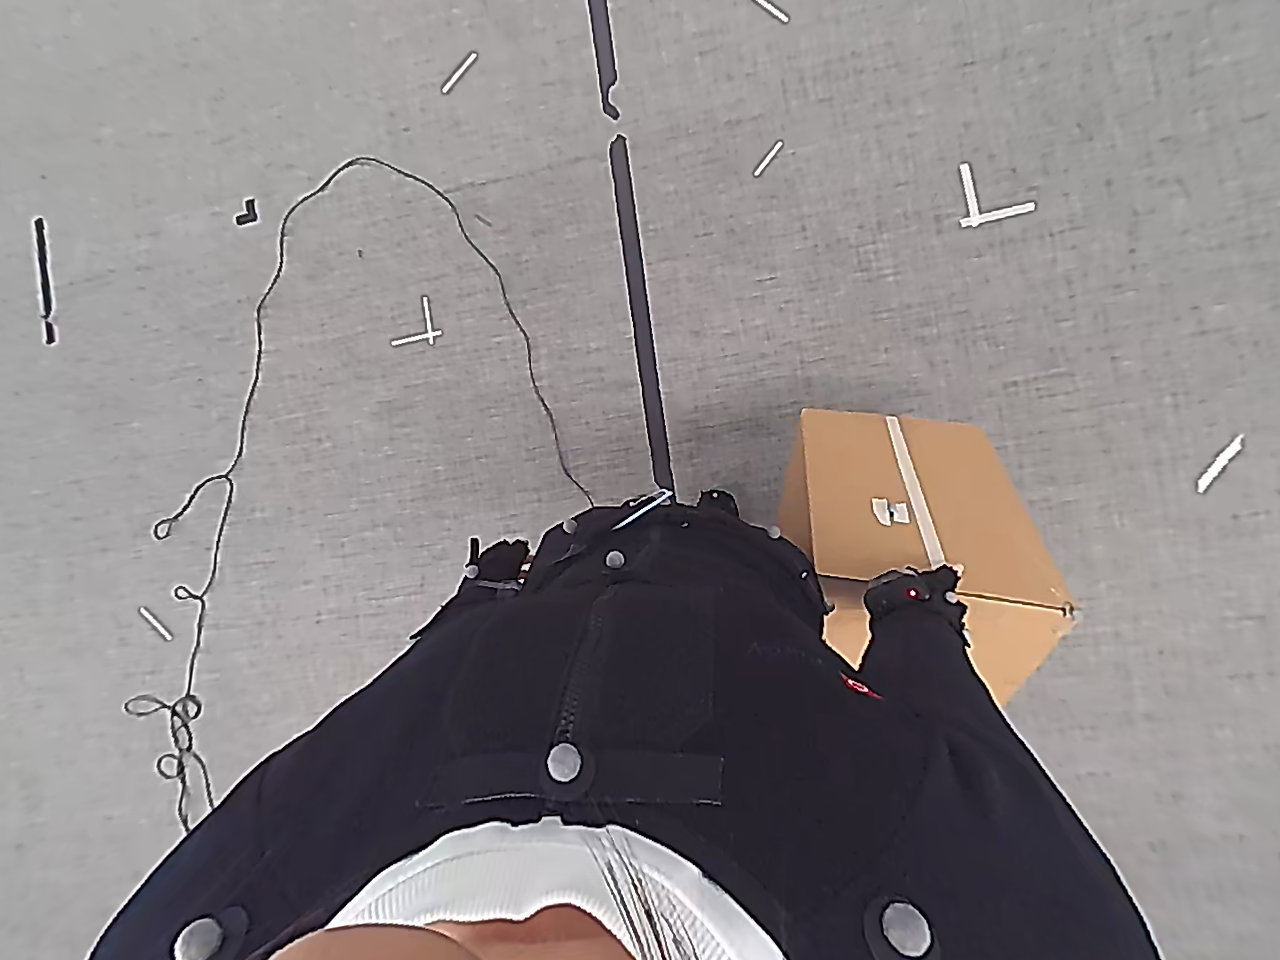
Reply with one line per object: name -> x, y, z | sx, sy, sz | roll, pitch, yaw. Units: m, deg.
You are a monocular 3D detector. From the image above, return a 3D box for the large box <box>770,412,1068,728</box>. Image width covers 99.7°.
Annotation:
large box -> 0.402, 0.133, 0.916 | 0.320, 0.408, 0.320 | 6, 131, 9
